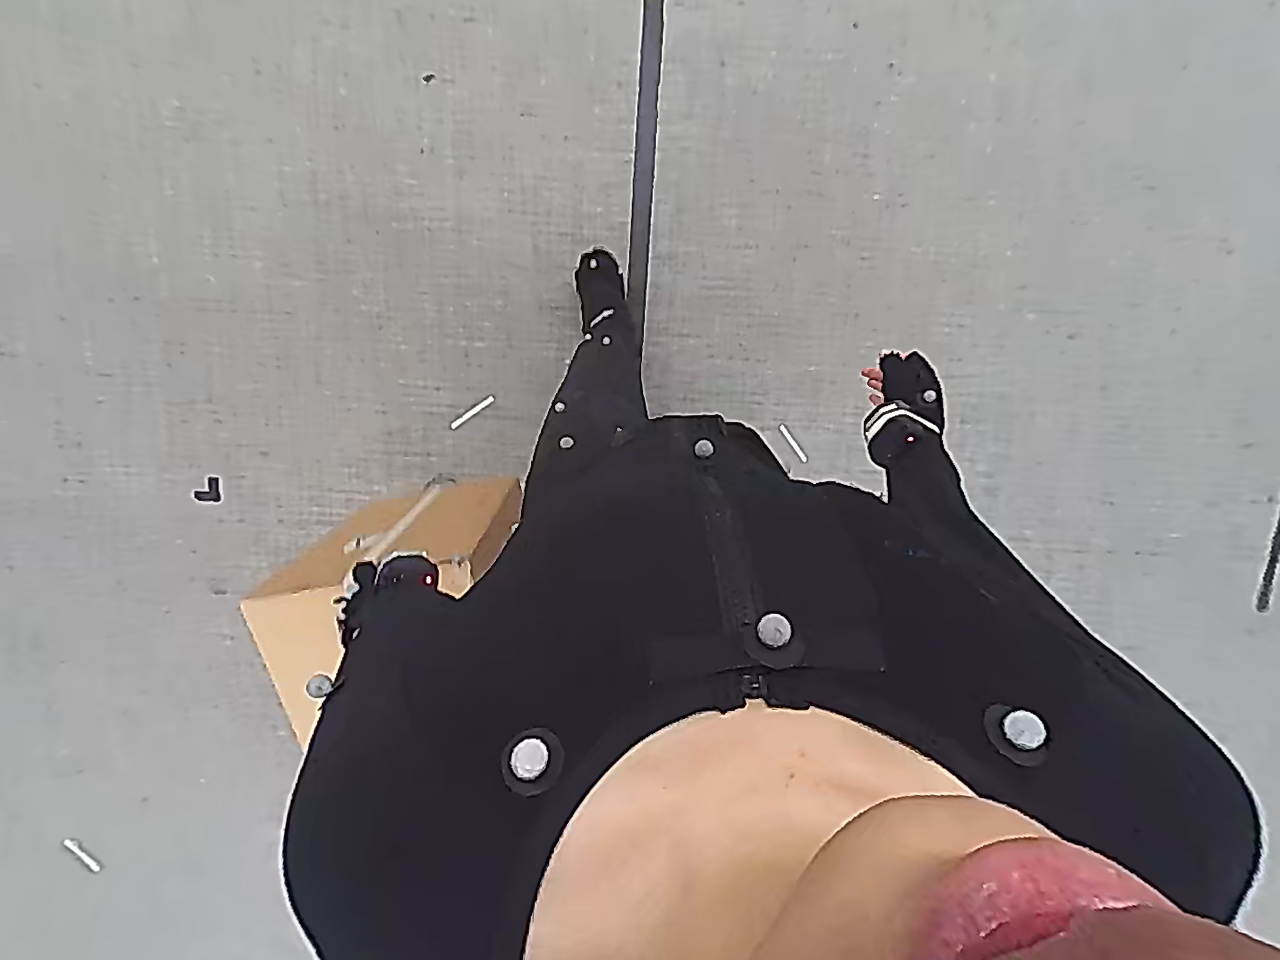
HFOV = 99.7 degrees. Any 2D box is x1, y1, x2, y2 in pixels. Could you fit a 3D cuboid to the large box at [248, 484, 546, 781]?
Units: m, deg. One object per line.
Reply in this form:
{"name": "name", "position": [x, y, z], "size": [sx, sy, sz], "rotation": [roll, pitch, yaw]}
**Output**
{"name": "large box", "position": [-0.363, 0.229, 0.951], "size": [0.320, 0.408, 0.320], "rotation": [-12, 106, 0]}
